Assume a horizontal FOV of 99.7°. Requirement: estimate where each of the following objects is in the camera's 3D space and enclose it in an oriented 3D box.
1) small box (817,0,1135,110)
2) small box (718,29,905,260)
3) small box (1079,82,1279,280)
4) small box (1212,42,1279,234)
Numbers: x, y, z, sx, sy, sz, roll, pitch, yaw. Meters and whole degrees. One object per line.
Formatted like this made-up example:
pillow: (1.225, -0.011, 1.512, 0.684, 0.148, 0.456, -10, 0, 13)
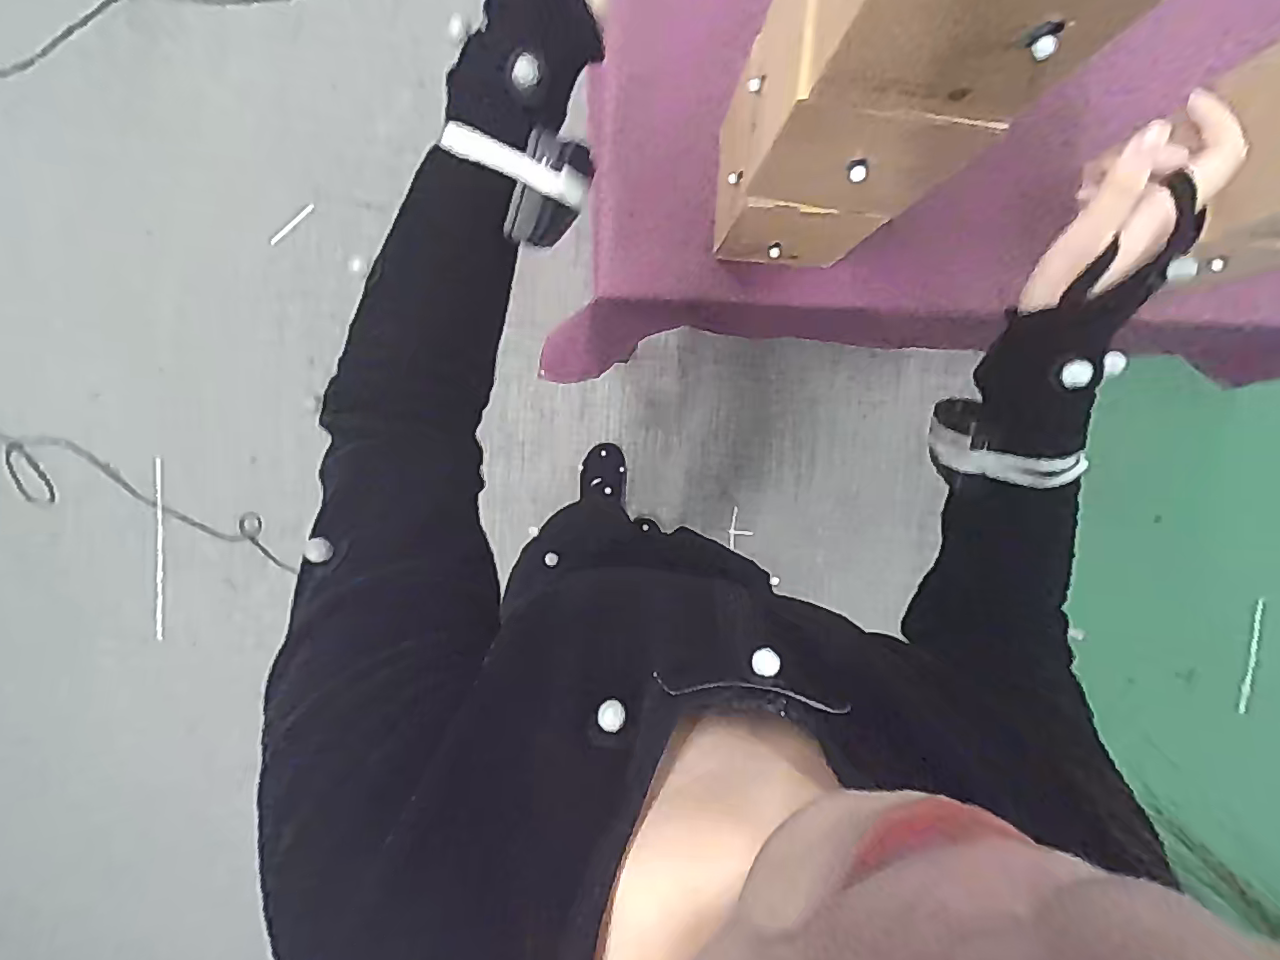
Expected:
small box: (0.221, -0.367, 0.330, 0.168, 0.176, 0.179, 3, 94, -5)
small box: (0.195, -0.388, 0.656, 0.168, 0.176, 0.179, 2, 95, -4)
small box: (0.715, -0.365, 0.692, 0.179, 0.176, 0.168, 3, 95, -4)
small box: (0.725, -0.360, 0.527, 0.168, 0.176, 0.179, 0, 95, -3)
